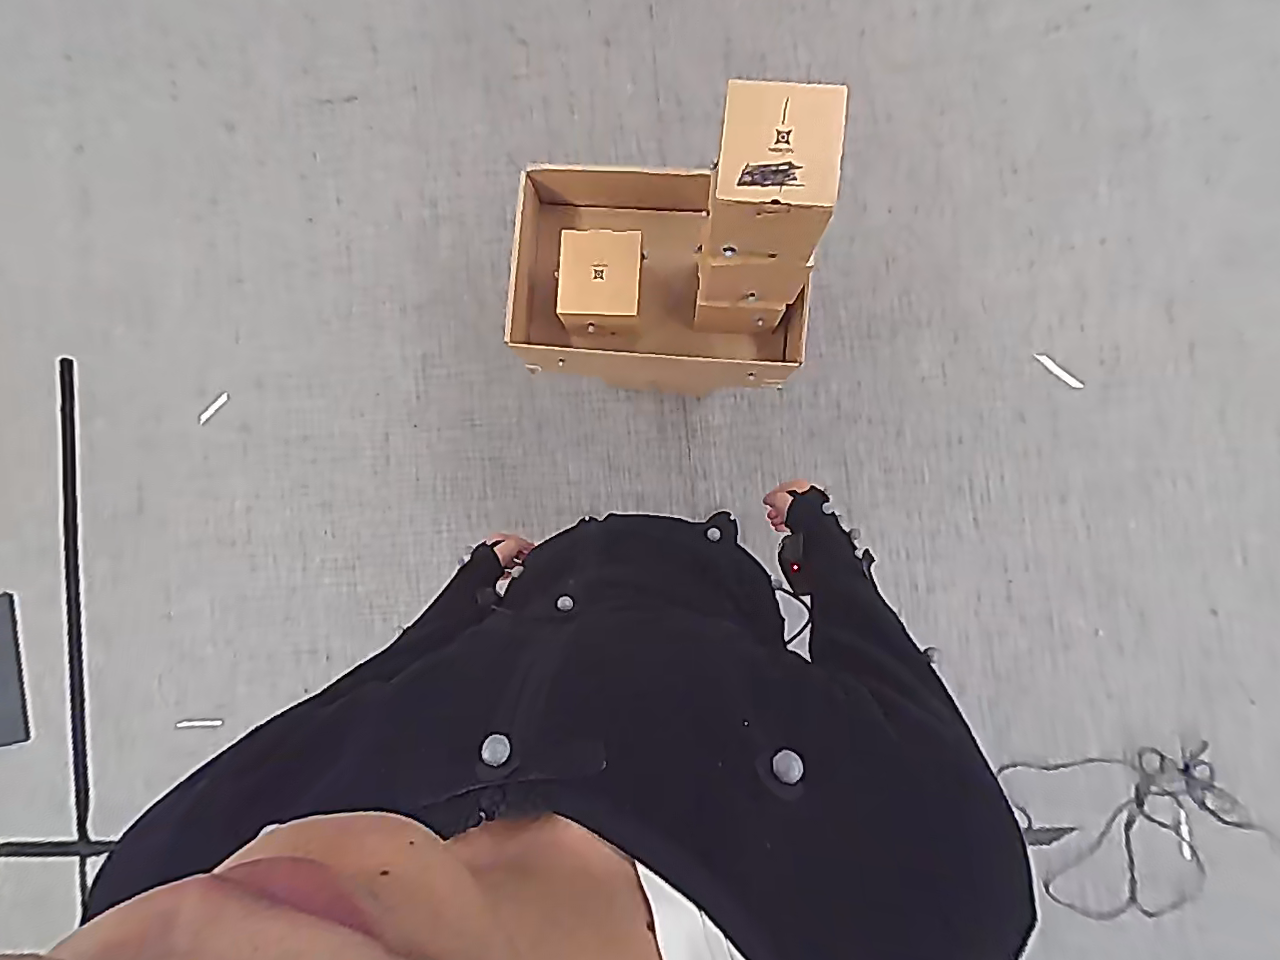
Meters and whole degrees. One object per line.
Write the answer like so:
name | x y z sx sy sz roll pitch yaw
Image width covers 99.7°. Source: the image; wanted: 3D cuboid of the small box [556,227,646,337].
small box | -0.077 -0.416 1.158 0.168 0.176 0.179 3 87 4

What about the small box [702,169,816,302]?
small box | 0.208 -0.431 0.972 0.179 0.176 0.168 3 88 3

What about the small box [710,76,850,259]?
small box | 0.197 -0.453 0.808 0.168 0.176 0.179 7 87 4
